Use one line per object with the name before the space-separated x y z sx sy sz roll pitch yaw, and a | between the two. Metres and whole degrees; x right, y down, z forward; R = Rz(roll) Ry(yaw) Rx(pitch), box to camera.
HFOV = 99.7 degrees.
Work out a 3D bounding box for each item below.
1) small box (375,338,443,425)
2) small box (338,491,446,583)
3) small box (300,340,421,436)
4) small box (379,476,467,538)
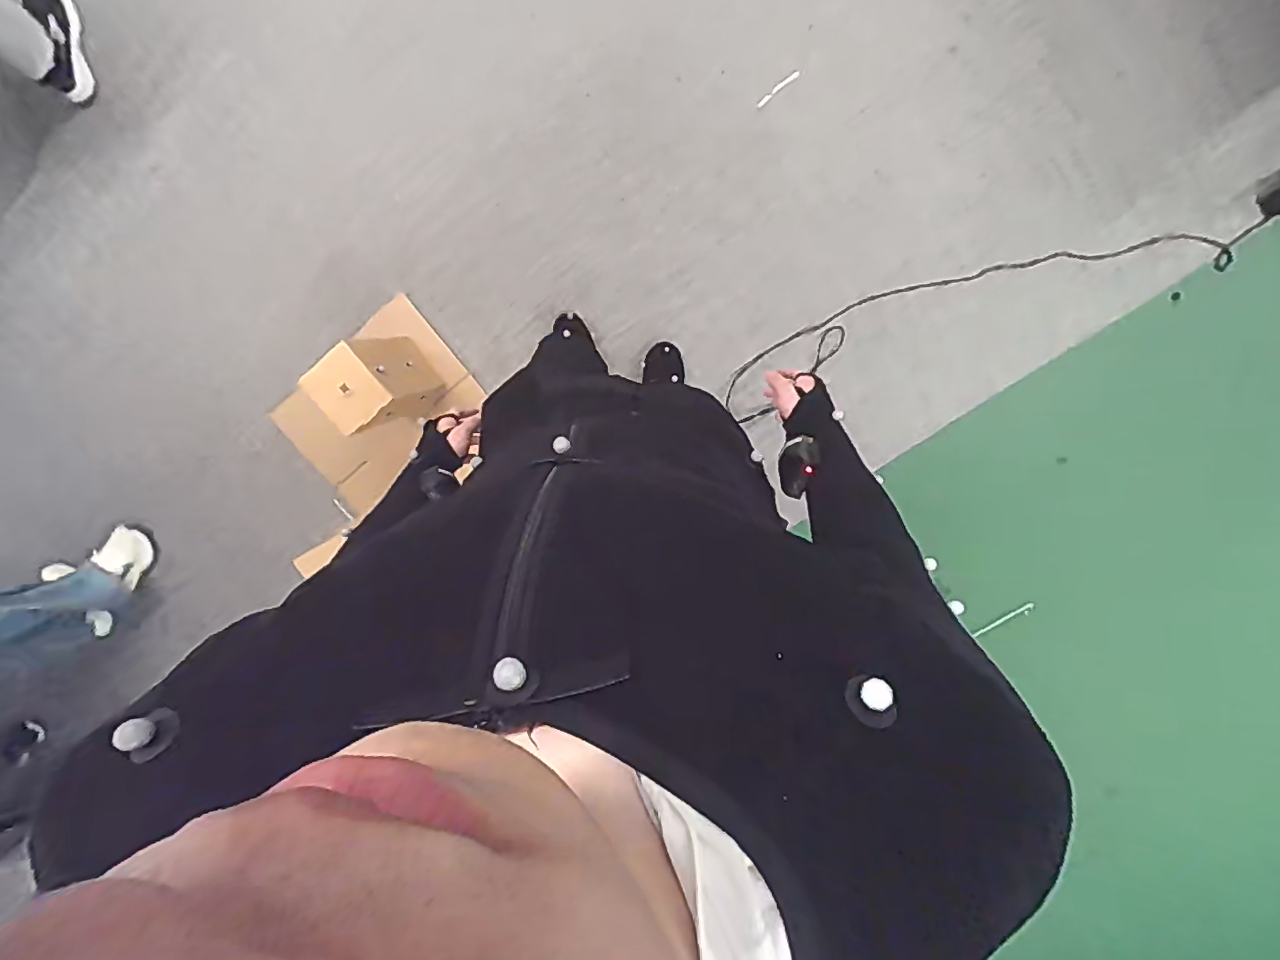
small box | -0.698 -0.285 1.533 0.168 0.176 0.179 -35 102 13
small box | -0.674 0.145 1.491 0.168 0.176 0.179 -28 104 13
small box | -0.703 -0.240 1.378 0.168 0.176 0.179 -36 103 13
small box | -0.665 0.102 1.650 0.168 0.176 0.179 -27 103 12
